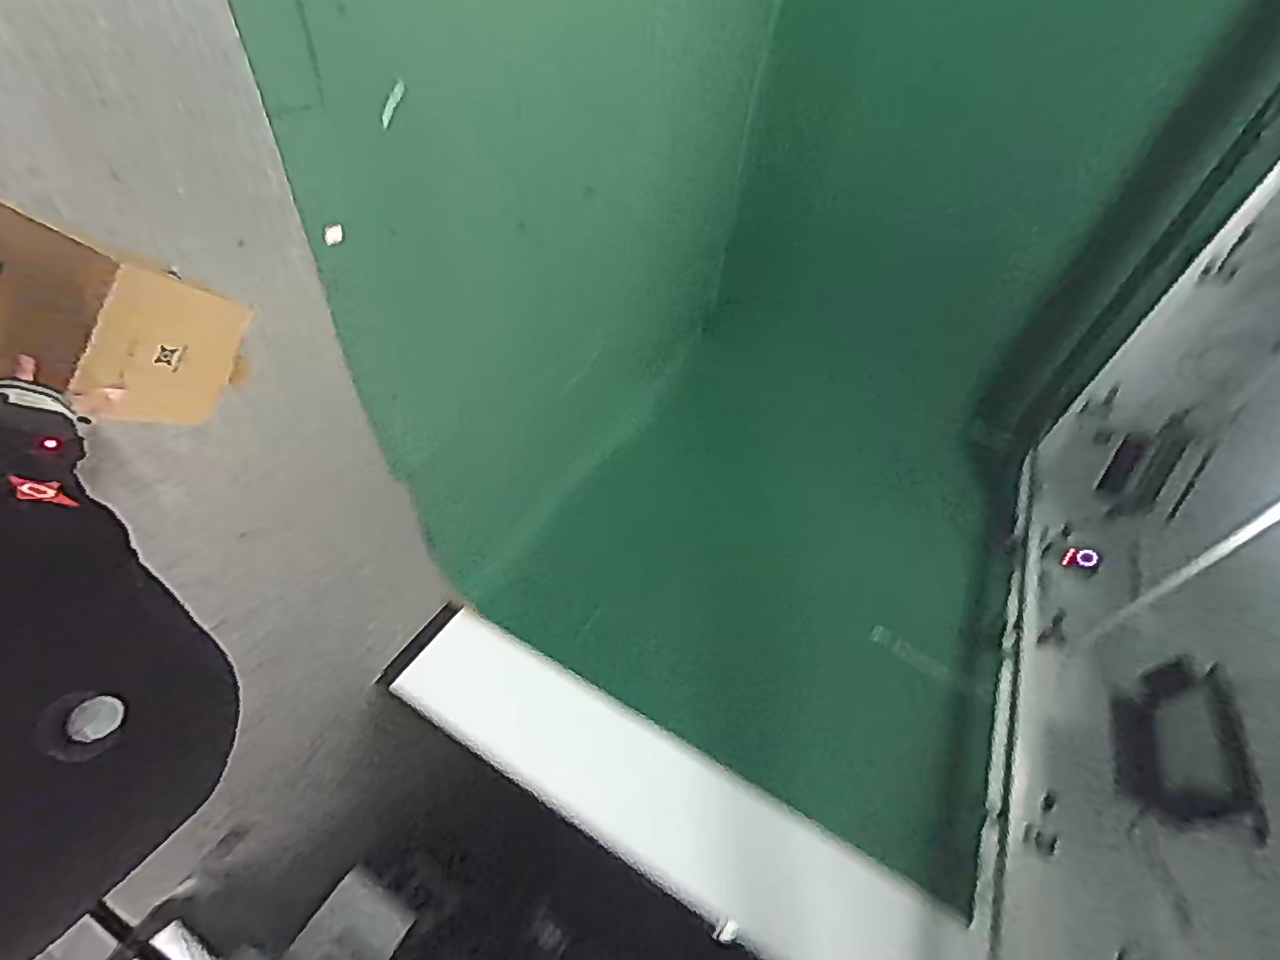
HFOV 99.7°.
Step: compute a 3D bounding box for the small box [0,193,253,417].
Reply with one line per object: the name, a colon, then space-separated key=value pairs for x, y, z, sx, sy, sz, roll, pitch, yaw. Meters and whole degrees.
small box: x=-0.597 y=-0.183 z=0.601 sx=0.179 sy=0.176 sz=0.168 roll=-59 pitch=174 yaw=-86
